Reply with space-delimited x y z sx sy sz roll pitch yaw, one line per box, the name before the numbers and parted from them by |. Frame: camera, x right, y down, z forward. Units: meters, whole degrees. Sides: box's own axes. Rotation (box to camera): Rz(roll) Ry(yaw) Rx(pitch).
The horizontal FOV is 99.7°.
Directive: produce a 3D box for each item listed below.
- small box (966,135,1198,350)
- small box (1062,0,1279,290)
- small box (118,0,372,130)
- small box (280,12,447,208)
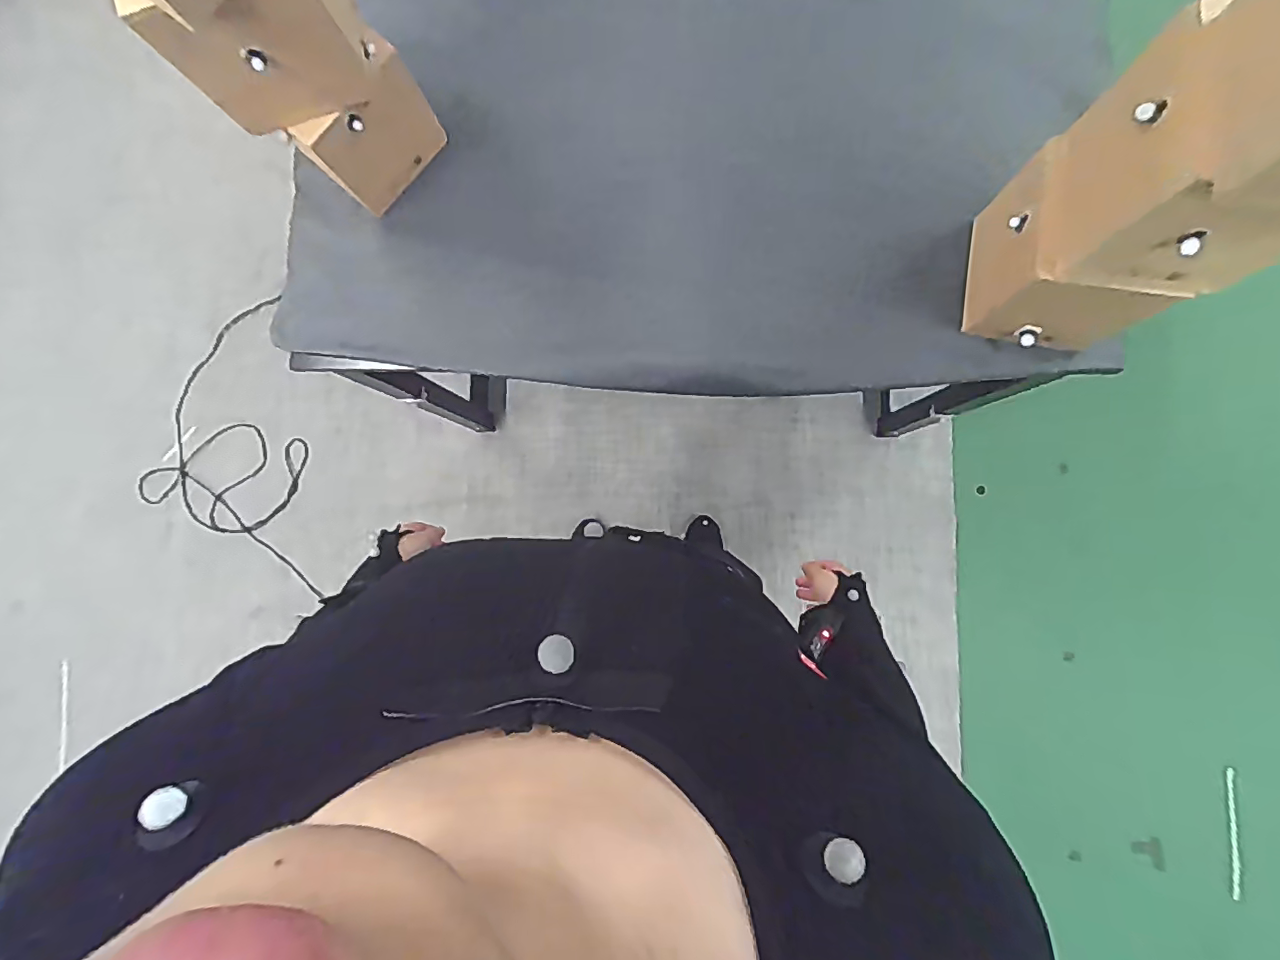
small box | 0.537 -0.283 0.673 0.168 0.176 0.179 10 85 6
small box | 0.541 -0.301 0.512 0.168 0.176 0.179 8 83 5
small box | -0.420 -0.529 0.586 0.179 0.176 0.168 -17 87 3
small box | -0.410 -0.524 0.751 0.179 0.176 0.168 42 90 4
